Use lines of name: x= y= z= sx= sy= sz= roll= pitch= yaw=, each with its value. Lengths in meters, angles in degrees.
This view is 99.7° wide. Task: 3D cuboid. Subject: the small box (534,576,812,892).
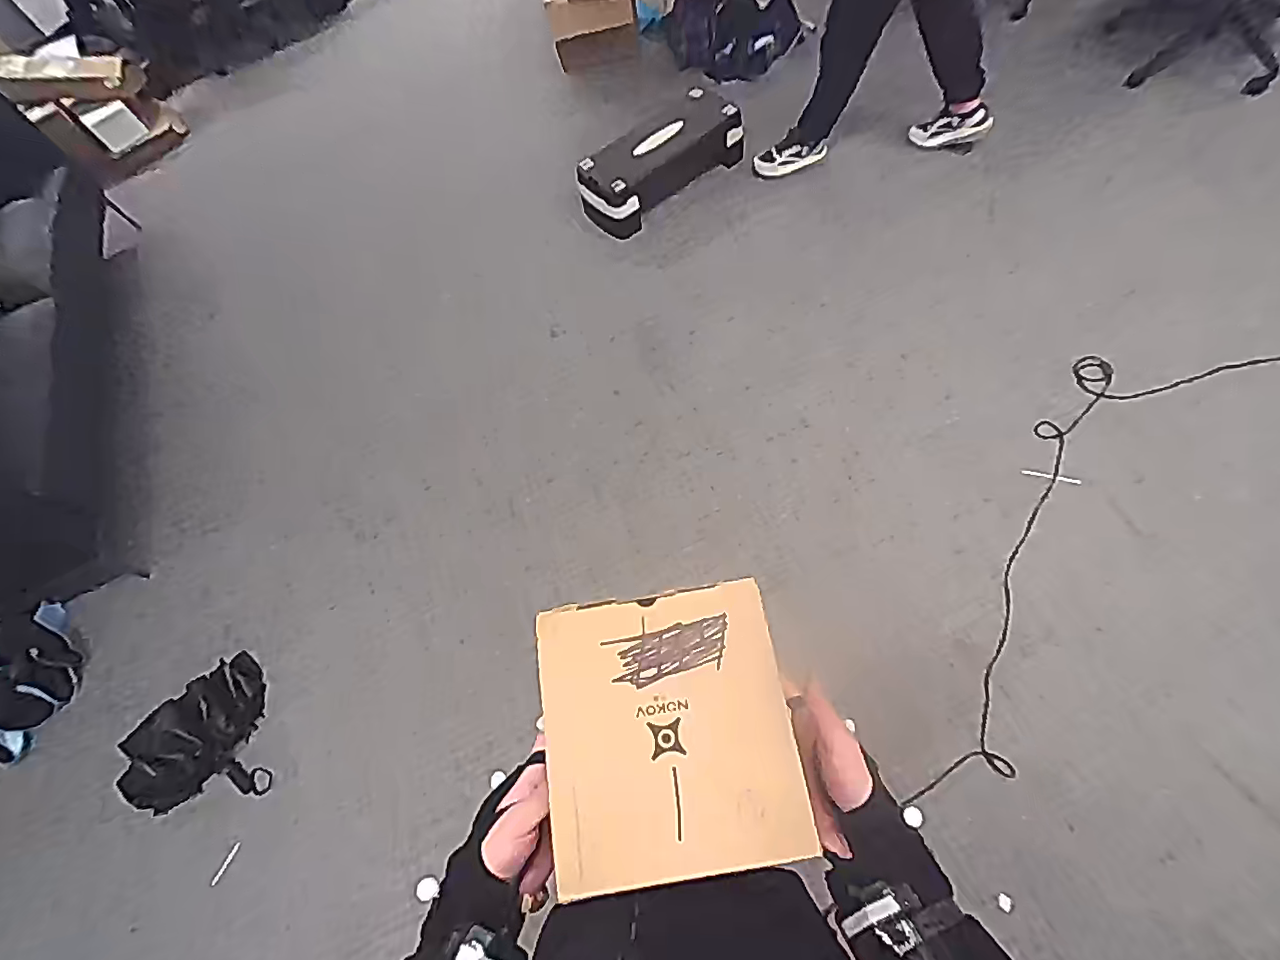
small box: x=0.018 y=0.192 z=0.435 sx=0.168 sy=0.176 sz=0.179 roll=-10 pitch=67 yaw=0
